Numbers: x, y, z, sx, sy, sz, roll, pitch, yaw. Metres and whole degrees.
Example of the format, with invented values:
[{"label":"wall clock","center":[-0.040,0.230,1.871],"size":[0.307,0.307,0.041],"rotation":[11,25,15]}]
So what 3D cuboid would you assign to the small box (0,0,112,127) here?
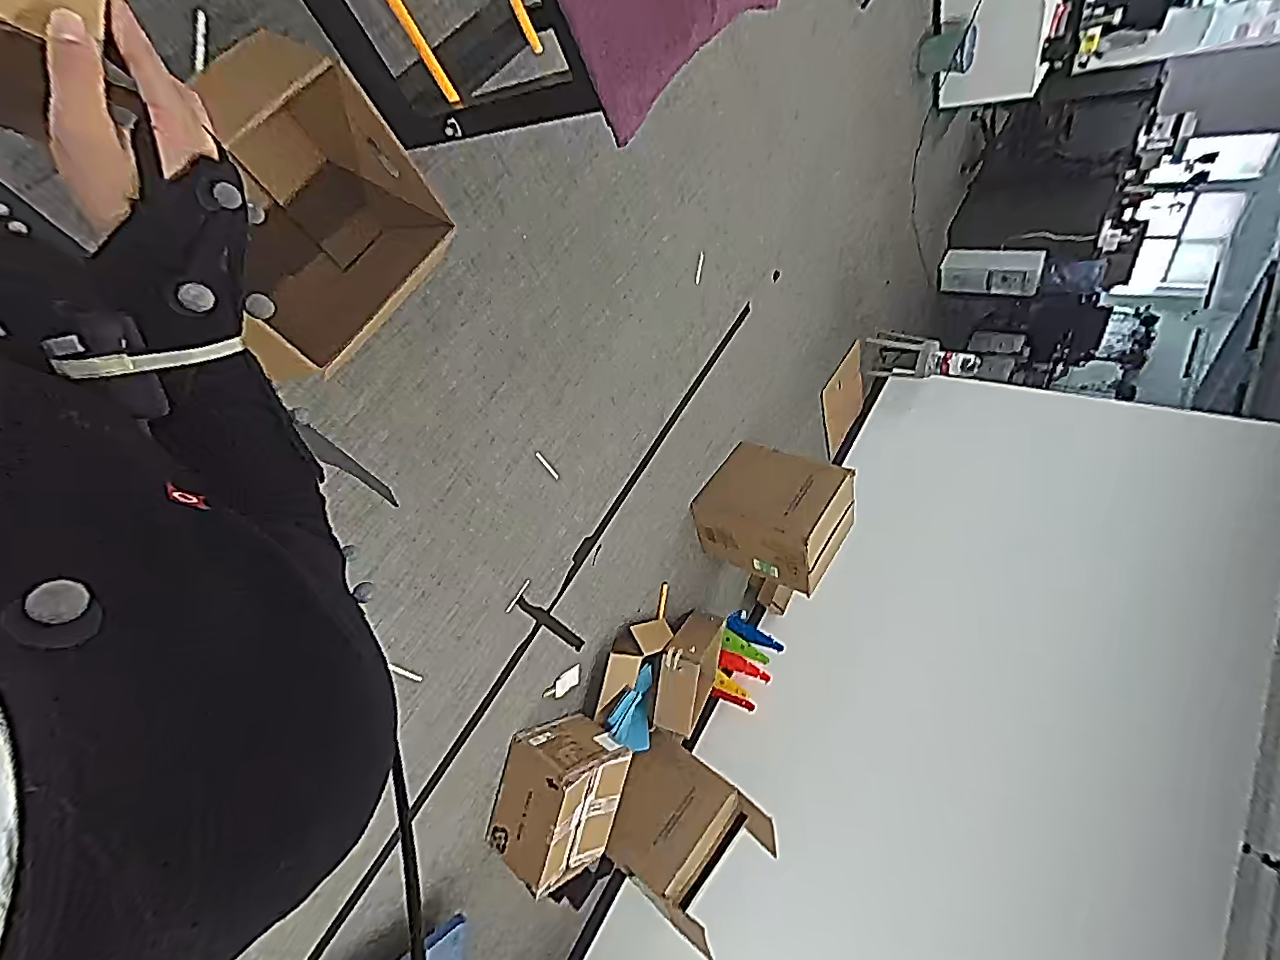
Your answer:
[{"label":"small box","center":[-0.367,-0.305,0.245],"size":[0.168,0.176,0.179],"rotation":[1,98,-54]}]
